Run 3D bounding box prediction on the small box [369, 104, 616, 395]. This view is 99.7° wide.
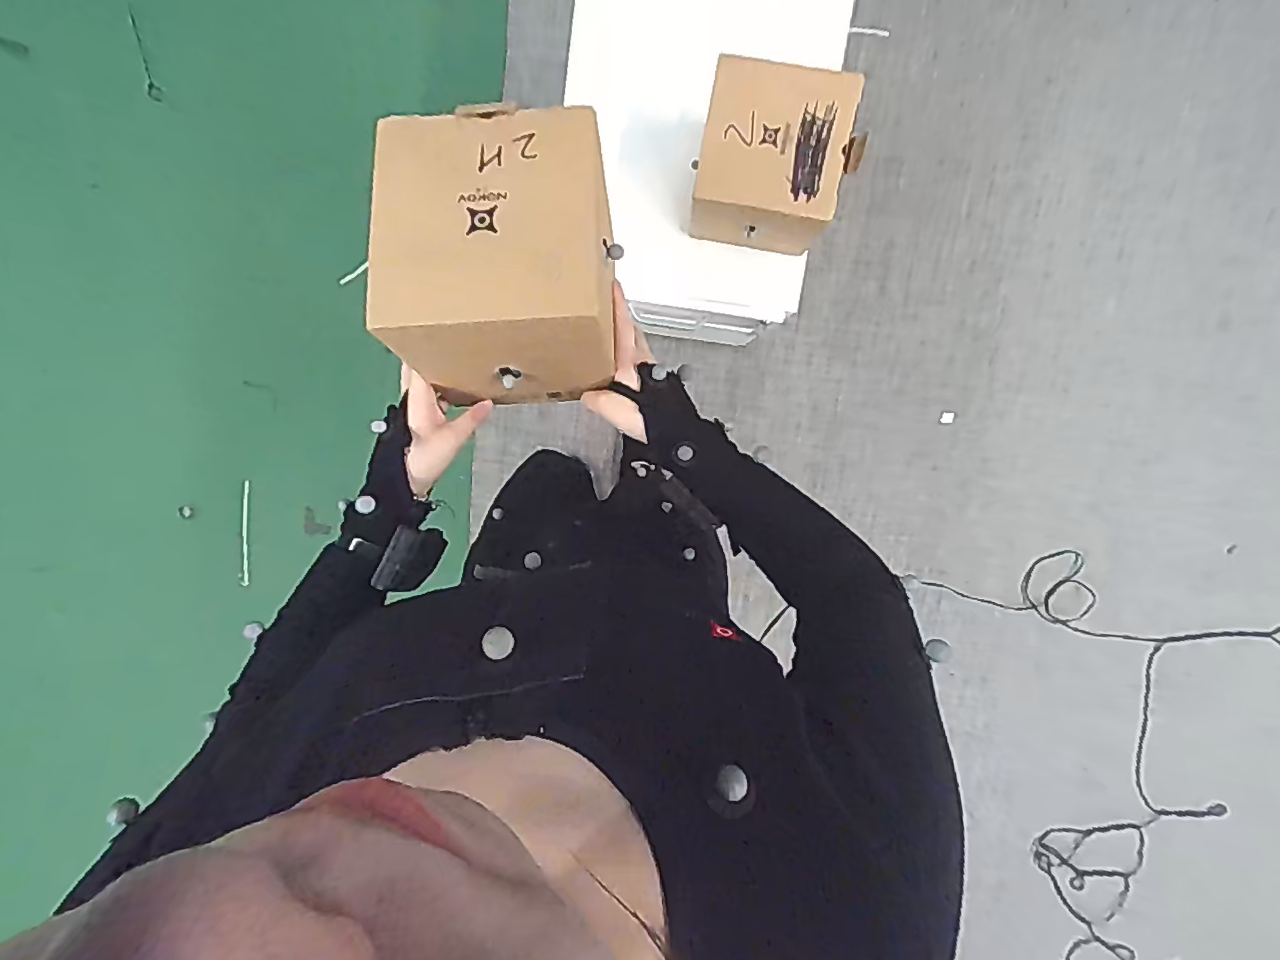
[{"bbox_3d":[-0.109,-0.179,0.470,0.168,0.176,0.179,-2,78,1],"label":"small box"}]
